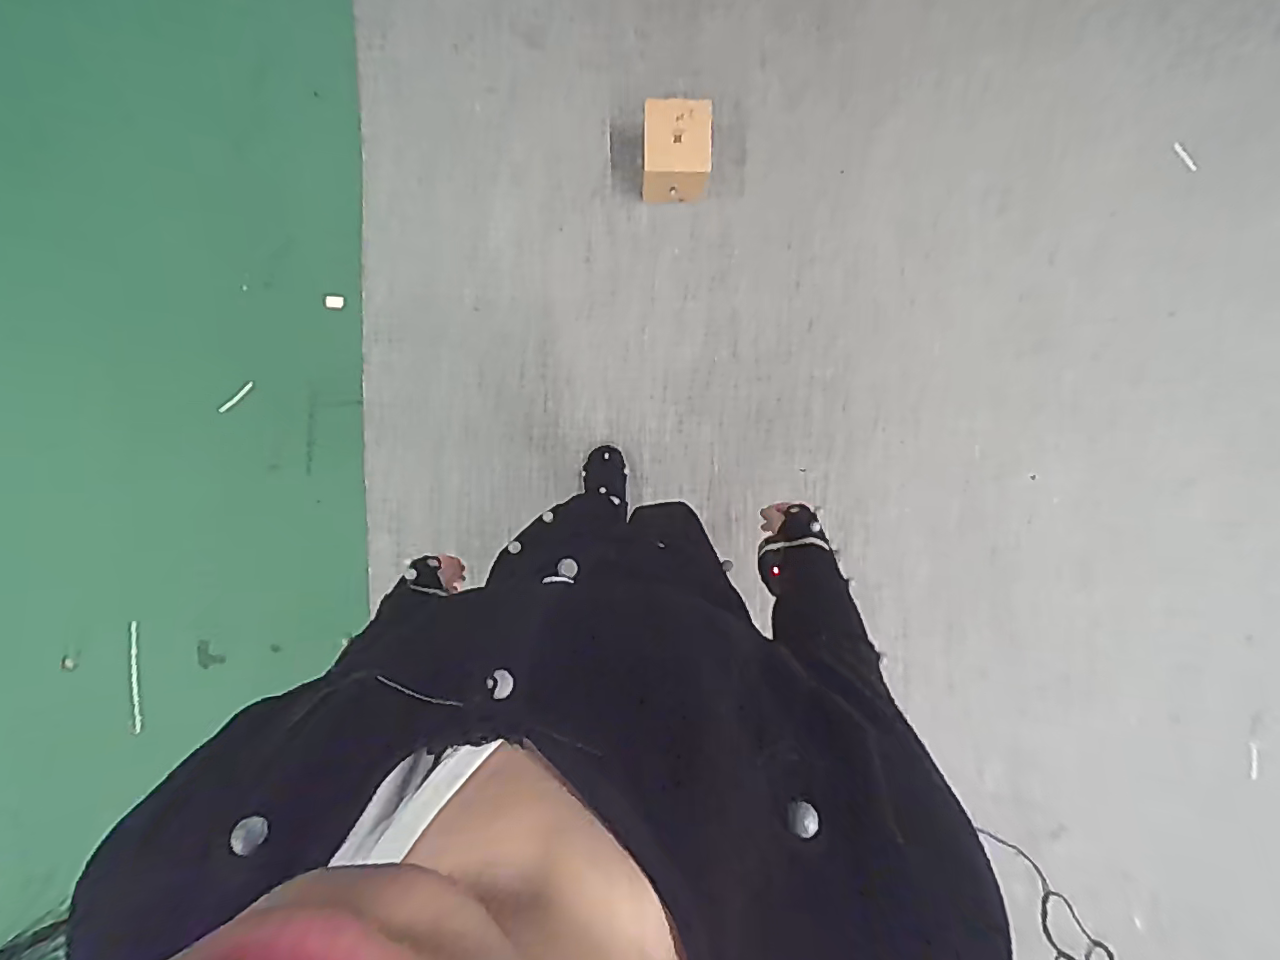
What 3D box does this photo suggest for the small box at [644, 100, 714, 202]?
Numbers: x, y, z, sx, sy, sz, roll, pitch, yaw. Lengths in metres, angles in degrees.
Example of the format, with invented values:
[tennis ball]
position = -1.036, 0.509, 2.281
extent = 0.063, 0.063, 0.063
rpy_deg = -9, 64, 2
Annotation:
[small box]
position = 0.096, -0.841, 1.397
extent = 0.168, 0.176, 0.179
rpy_deg = 0, 93, -1
